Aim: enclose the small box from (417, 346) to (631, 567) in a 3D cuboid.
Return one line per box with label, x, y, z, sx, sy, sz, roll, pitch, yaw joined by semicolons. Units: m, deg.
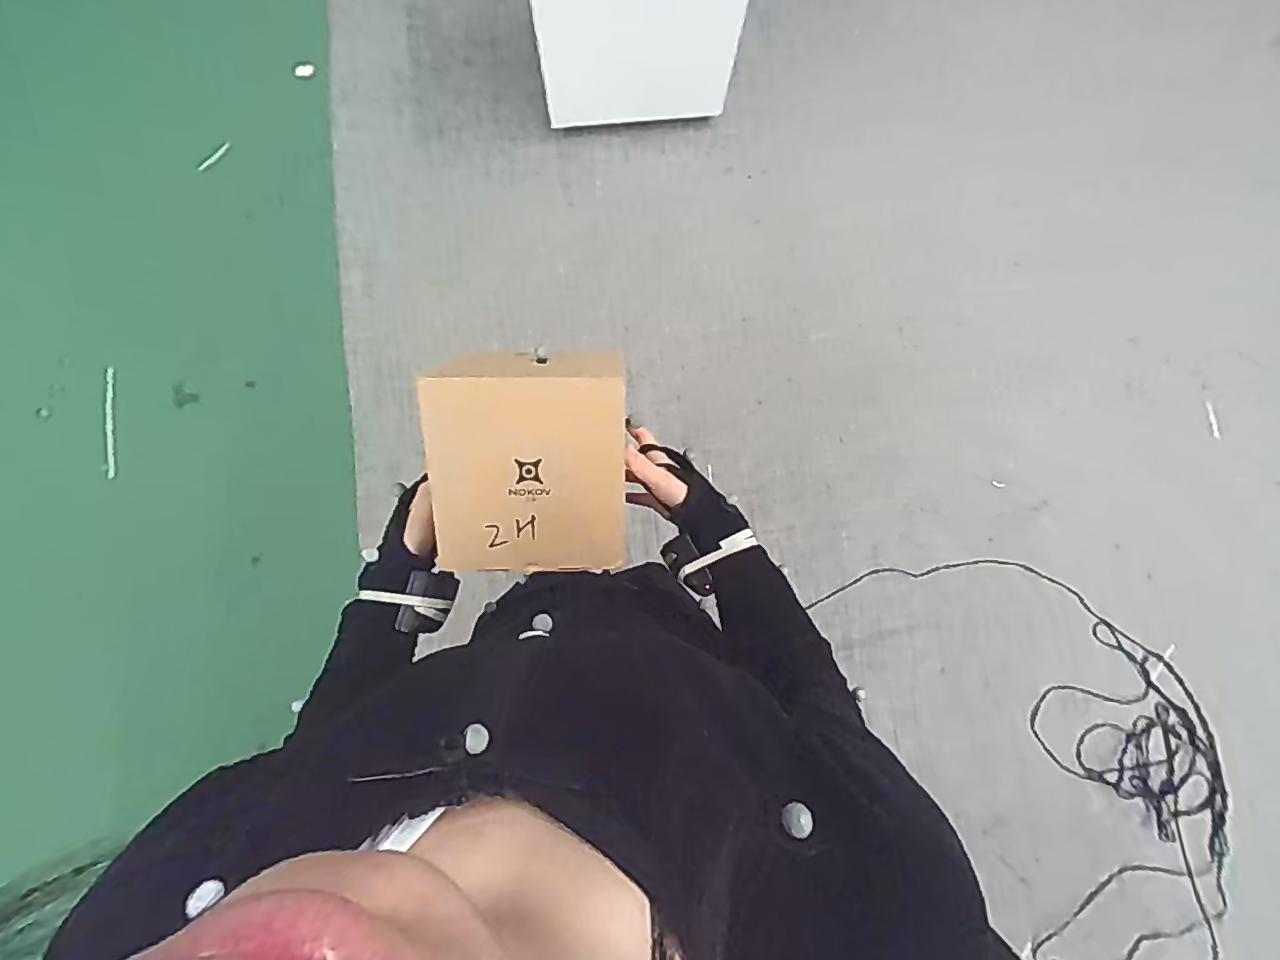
small box;-0.095;-0.033;0.514;0.168;0.176;0.179;0;109;-3
